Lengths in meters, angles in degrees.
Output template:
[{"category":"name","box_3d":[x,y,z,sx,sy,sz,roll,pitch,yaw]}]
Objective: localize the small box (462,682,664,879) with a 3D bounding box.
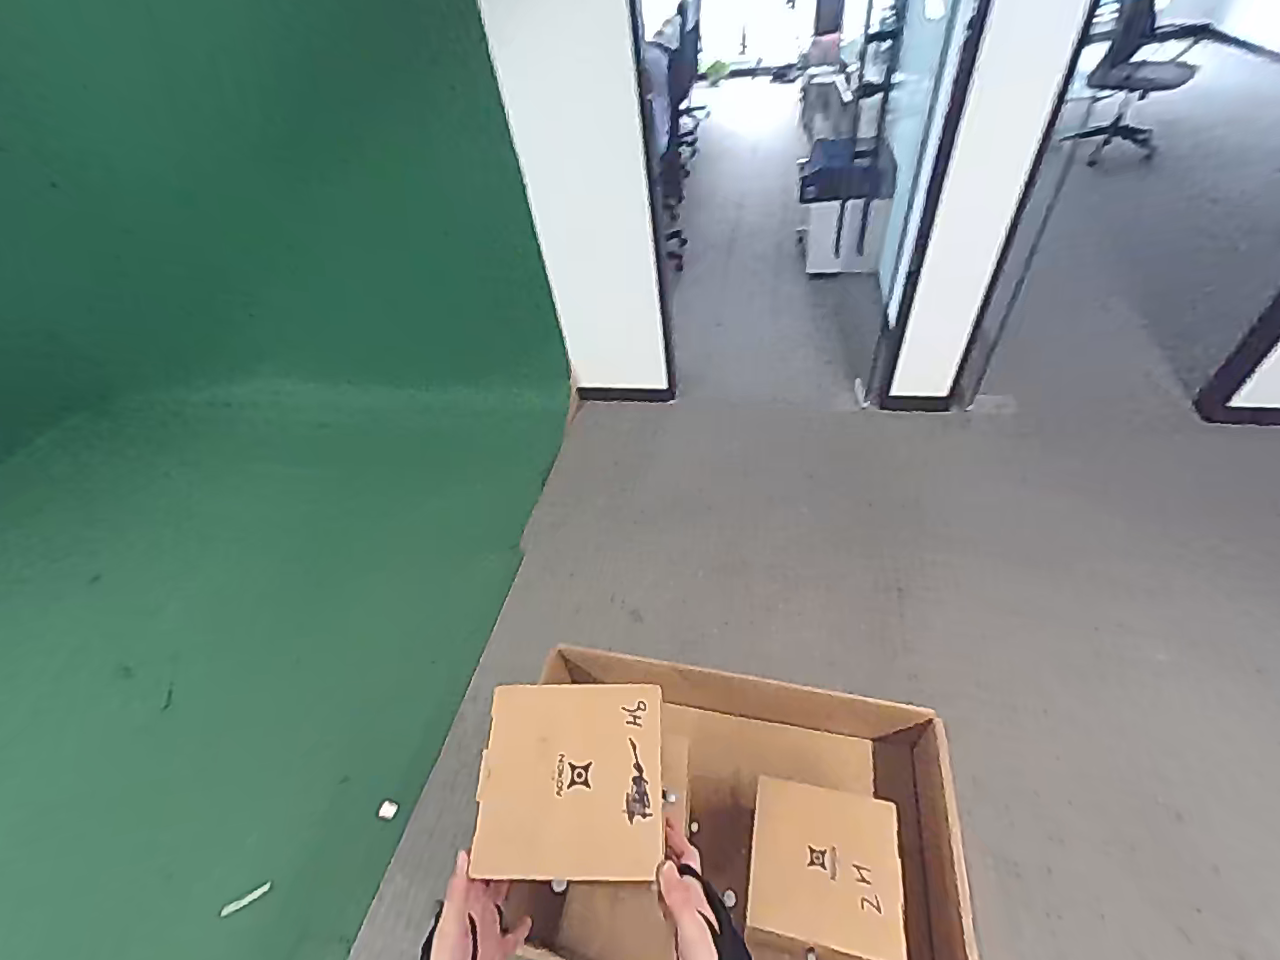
[{"category":"small box","box_3d":[-0.065,0.321,0.581,0.179,0.176,0.168,-1,57,3]}]
